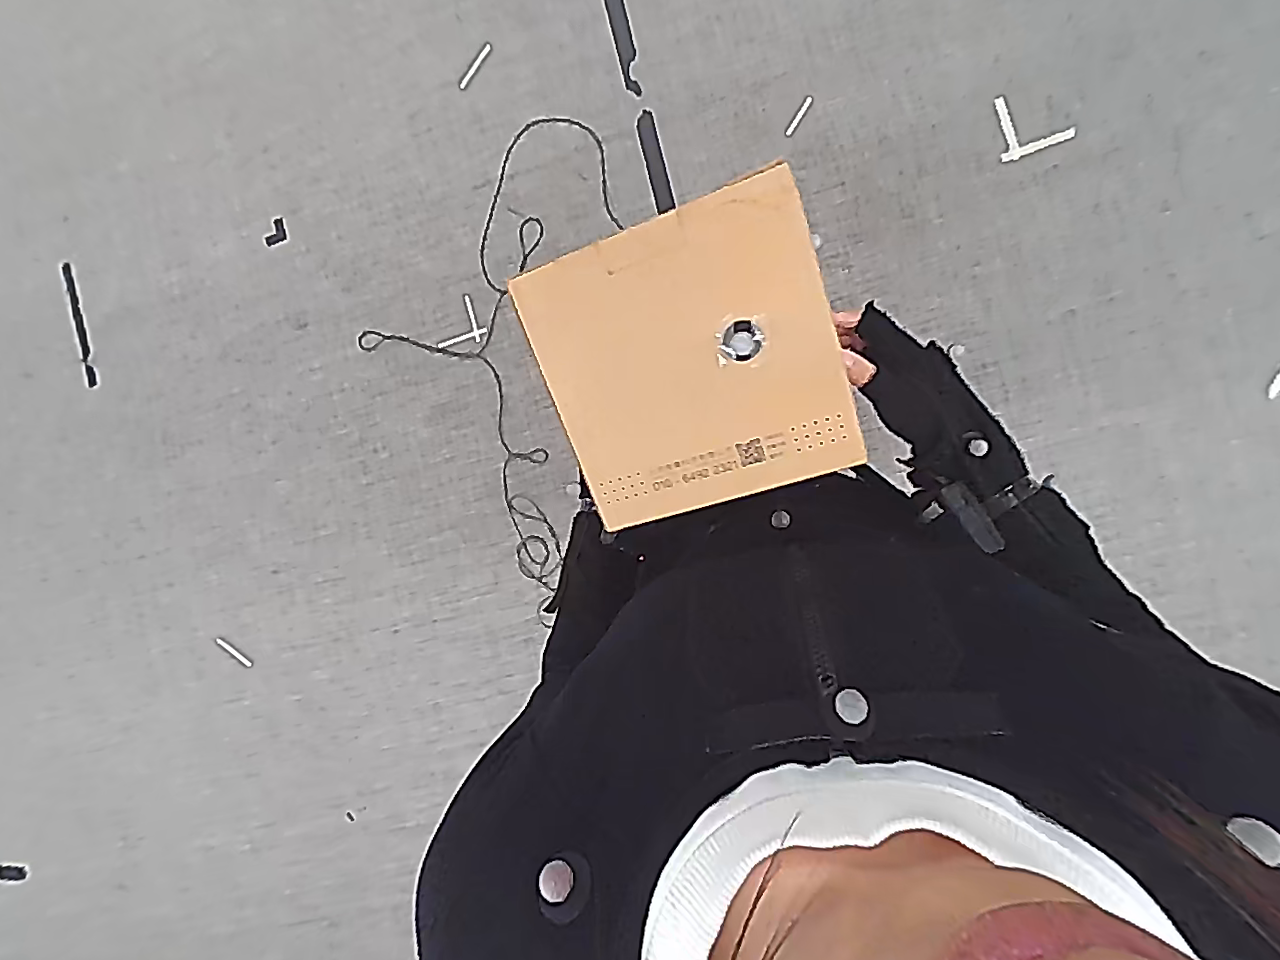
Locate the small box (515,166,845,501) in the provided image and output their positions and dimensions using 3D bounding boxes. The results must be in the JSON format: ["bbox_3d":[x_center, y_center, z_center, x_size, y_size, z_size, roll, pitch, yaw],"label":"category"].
[{"bbox_3d":[0.042,-0.096,0.402,0.168,0.179,0.176,-16,106,18],"label":"small box"}]
